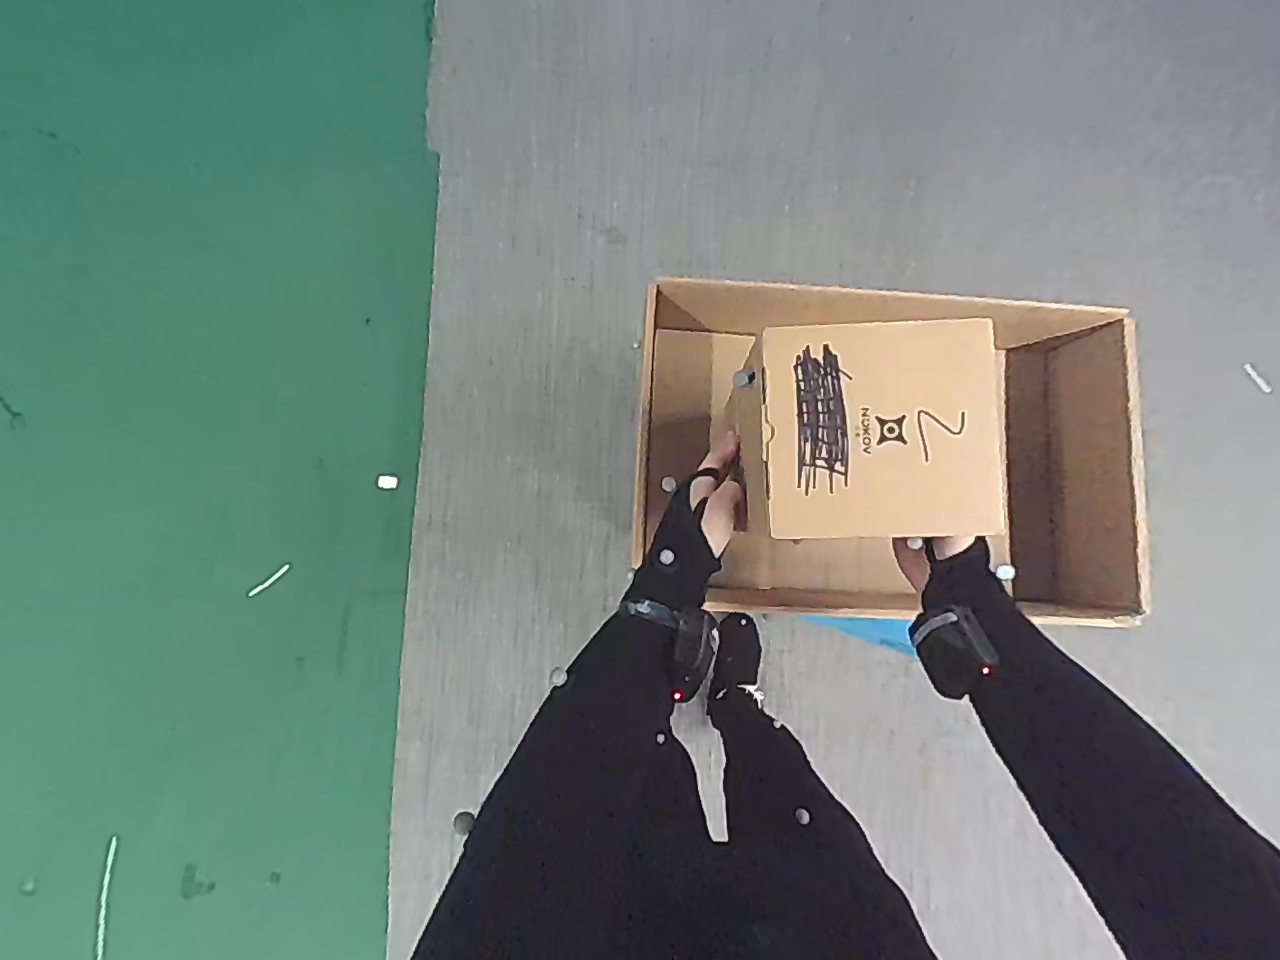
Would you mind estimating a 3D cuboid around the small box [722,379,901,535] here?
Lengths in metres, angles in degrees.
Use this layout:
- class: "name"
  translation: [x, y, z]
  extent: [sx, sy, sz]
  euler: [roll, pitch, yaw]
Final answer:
- class: "small box"
  translation: [0.194, -0.023, 0.654]
  extent: [0.179, 0.176, 0.168]
  euler: [0, 87, 6]
